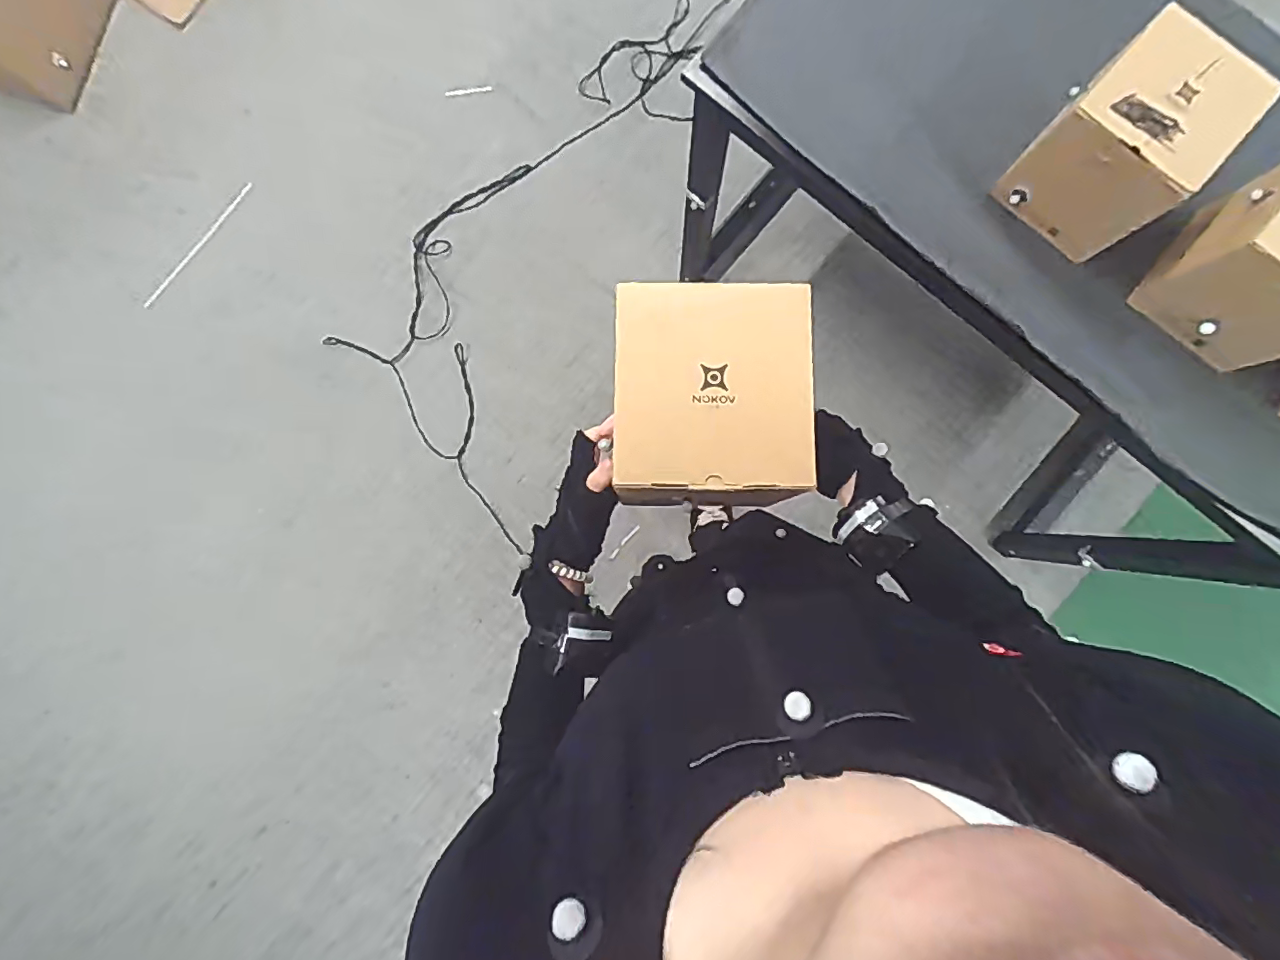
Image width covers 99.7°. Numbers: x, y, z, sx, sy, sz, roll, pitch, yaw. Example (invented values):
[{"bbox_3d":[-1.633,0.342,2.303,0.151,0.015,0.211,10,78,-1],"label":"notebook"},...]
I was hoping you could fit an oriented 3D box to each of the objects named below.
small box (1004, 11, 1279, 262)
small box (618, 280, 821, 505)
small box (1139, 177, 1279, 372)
[{"bbox_3d":[0.621,-0.424,0.699,0.168,0.176,0.179,42,87,4],"label":"small box"},{"bbox_3d":[0.062,-0.070,0.520,0.168,0.176,0.179,0,83,-1],"label":"small box"},{"bbox_3d":[0.804,-0.267,0.680,0.168,0.176,0.179,40,88,5],"label":"small box"}]
